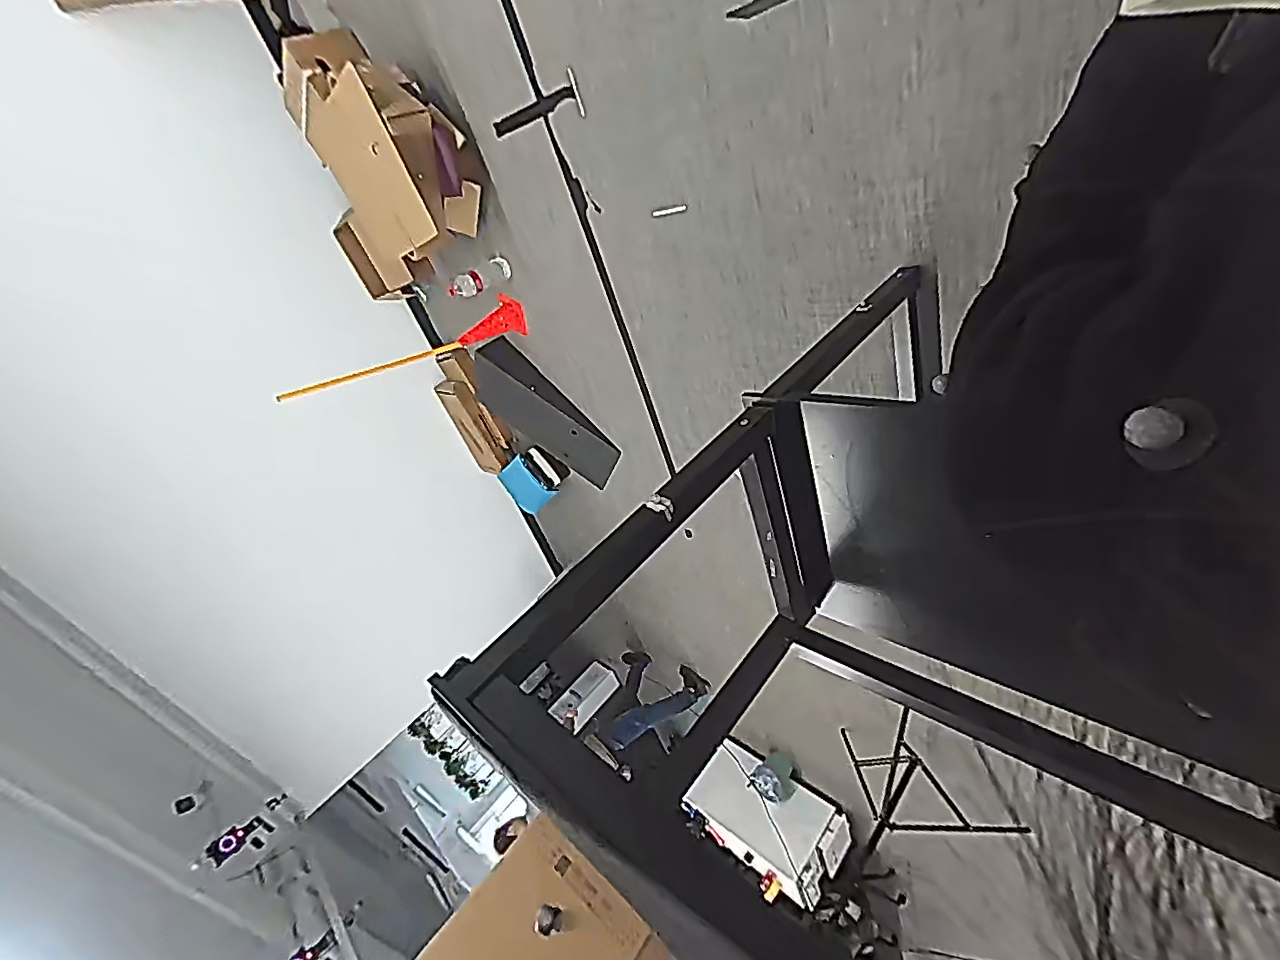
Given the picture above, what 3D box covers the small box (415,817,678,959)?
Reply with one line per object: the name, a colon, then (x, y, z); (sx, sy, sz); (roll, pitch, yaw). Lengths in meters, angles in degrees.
small box: (-0.075, 0.470, 0.508); (0.168, 0.176, 0.179); (15, 137, 43)
